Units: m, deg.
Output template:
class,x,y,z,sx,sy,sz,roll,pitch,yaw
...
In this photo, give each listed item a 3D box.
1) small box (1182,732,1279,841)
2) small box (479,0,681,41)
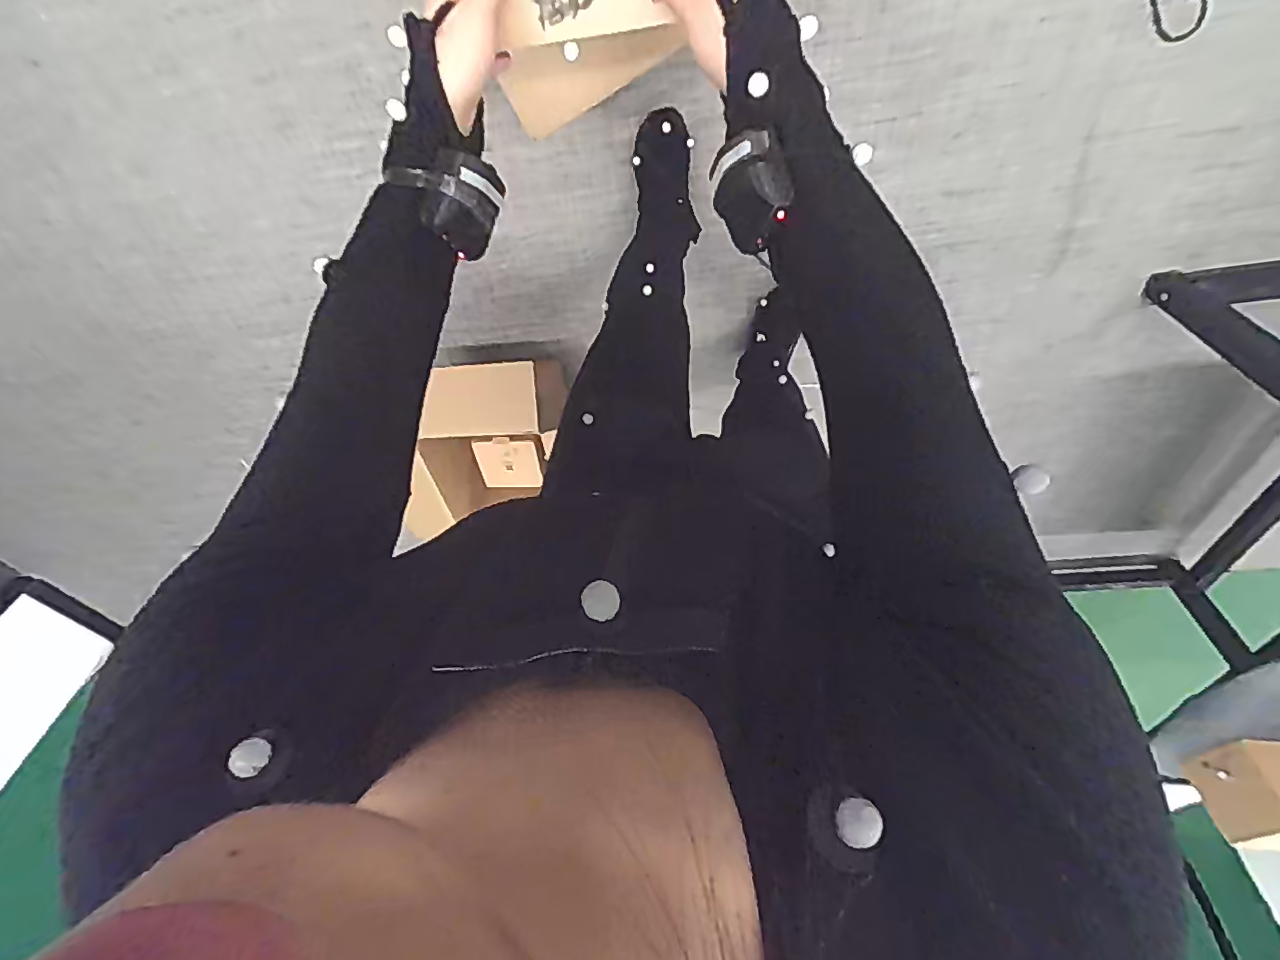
class,x,y,z,sx,sy,sz,roll,pitch,yaw
small box,1.355,0.657,1.158,0.179,0.176,0.168,6,135,-3
small box,-0.055,-0.495,0.450,0.168,0.176,0.179,-3,135,7
